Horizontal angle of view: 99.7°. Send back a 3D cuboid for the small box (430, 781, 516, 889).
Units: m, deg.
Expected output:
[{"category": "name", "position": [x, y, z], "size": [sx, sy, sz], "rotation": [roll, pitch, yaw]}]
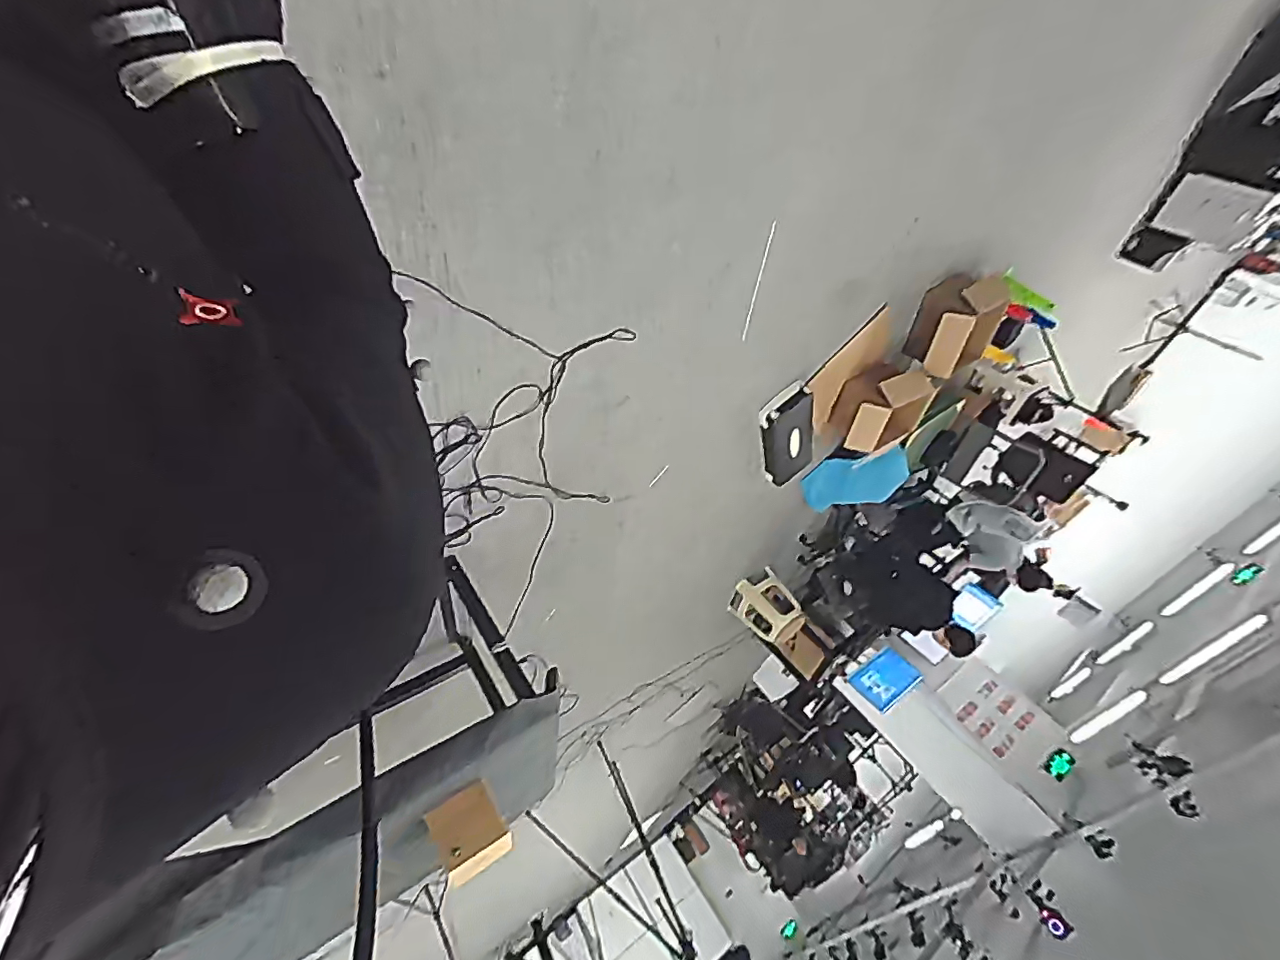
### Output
[{"category": "small box", "position": [-0.464, 0.983, 1.505], "size": [0.179, 0.176, 0.168], "rotation": [-21, 140, -29]}]
